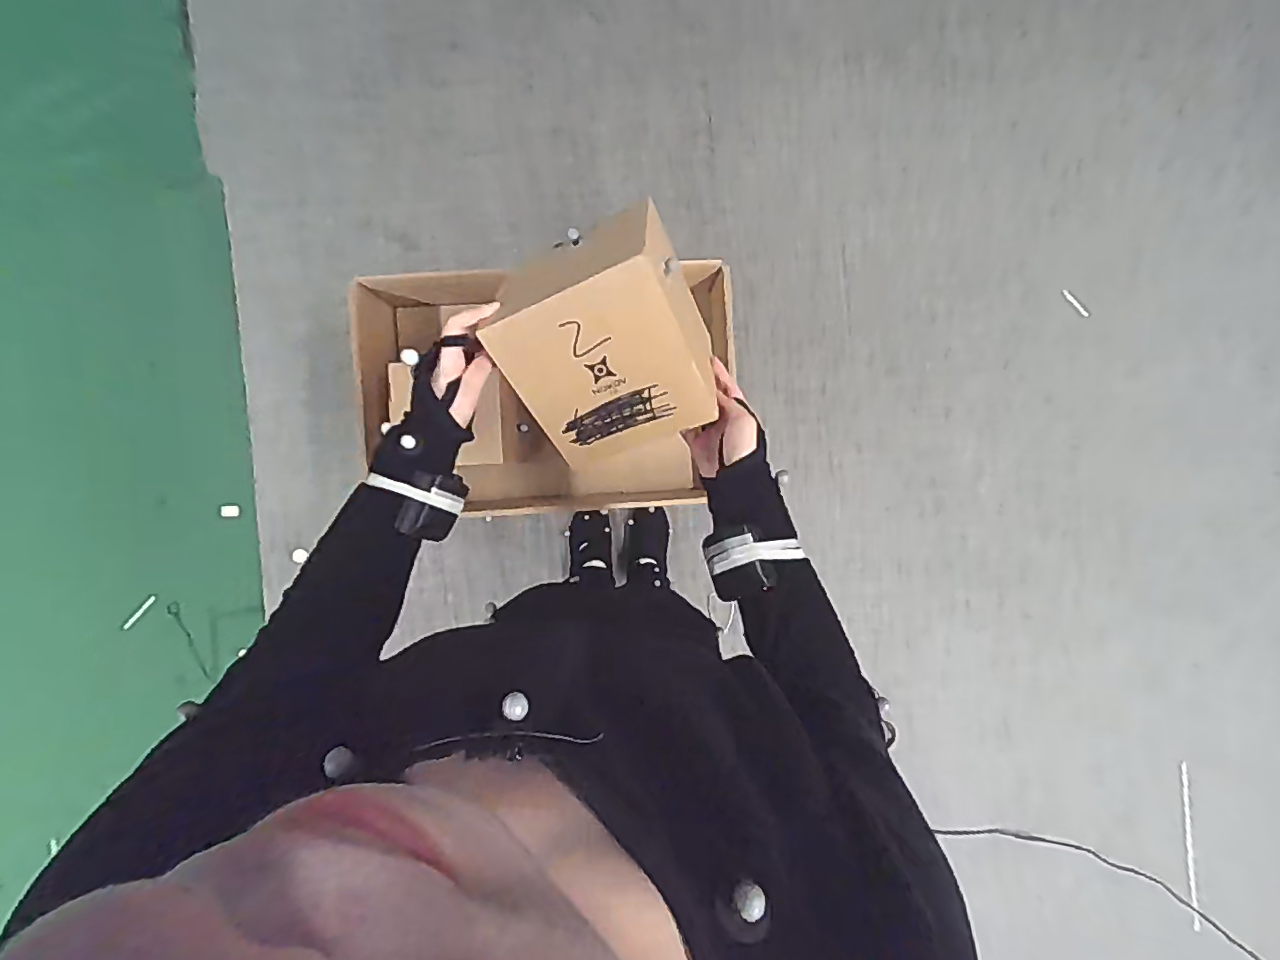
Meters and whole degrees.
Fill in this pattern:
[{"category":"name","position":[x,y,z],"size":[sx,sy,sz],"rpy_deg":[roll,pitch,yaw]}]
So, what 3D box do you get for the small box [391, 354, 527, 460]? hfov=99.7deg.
[{"category":"small box","position":[-0.300,-0.117,0.923],"size":[0.179,0.176,0.168],"rpy_deg":[-1,93,1]}]
